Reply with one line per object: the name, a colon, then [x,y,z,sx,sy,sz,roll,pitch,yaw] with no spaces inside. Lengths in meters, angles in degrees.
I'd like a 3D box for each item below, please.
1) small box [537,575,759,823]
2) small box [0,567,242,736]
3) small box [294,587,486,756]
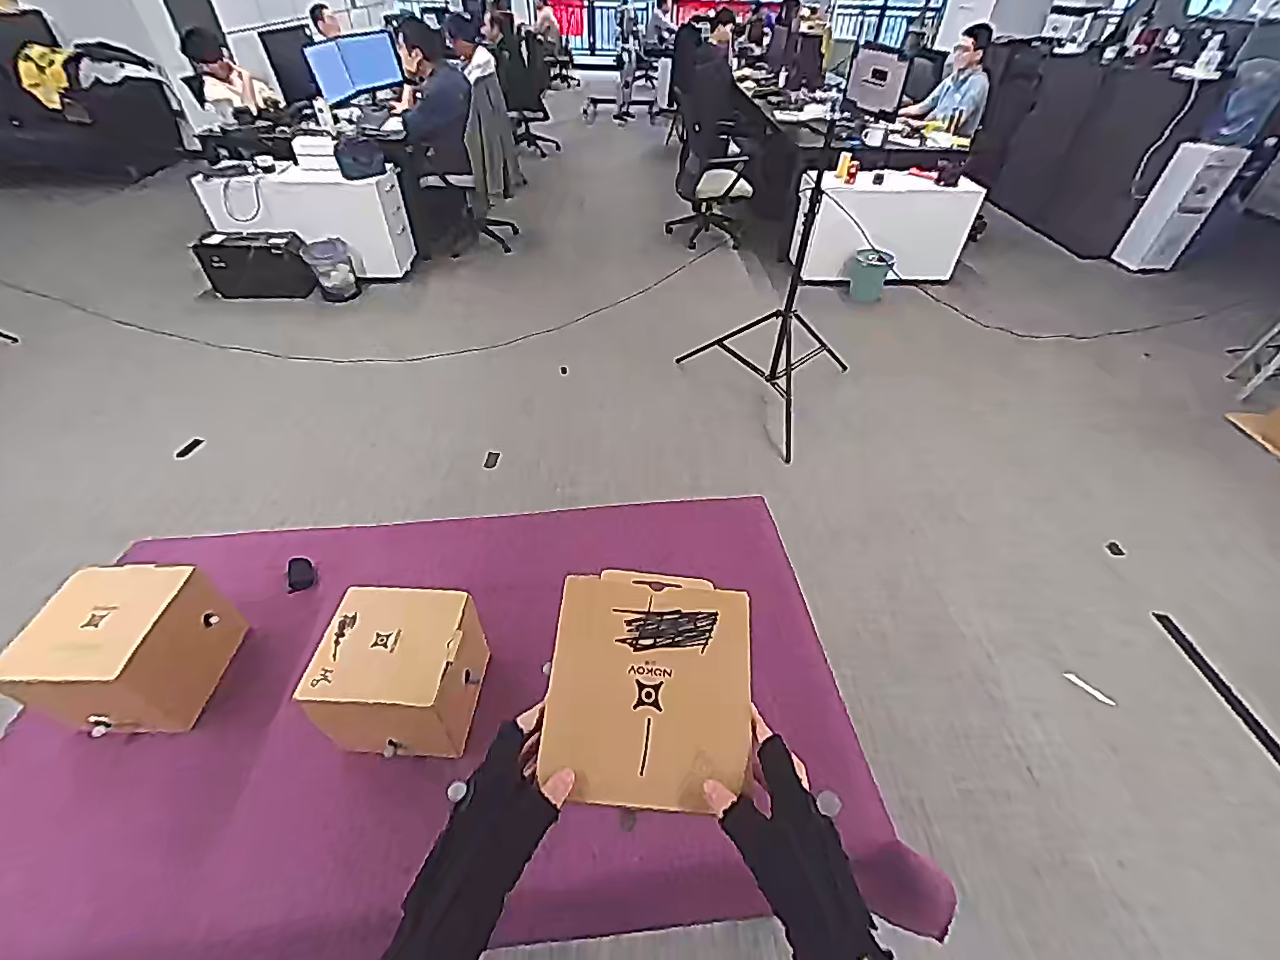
small box: [0.008,0.208,0.501,0.168,0.176,0.179,5,58,1]
small box: [-0.719,0.243,0.773,0.168,0.176,0.179,0,44,-1]
small box: [-0.328,0.271,0.758,0.179,0.176,0.168,3,43,1]
